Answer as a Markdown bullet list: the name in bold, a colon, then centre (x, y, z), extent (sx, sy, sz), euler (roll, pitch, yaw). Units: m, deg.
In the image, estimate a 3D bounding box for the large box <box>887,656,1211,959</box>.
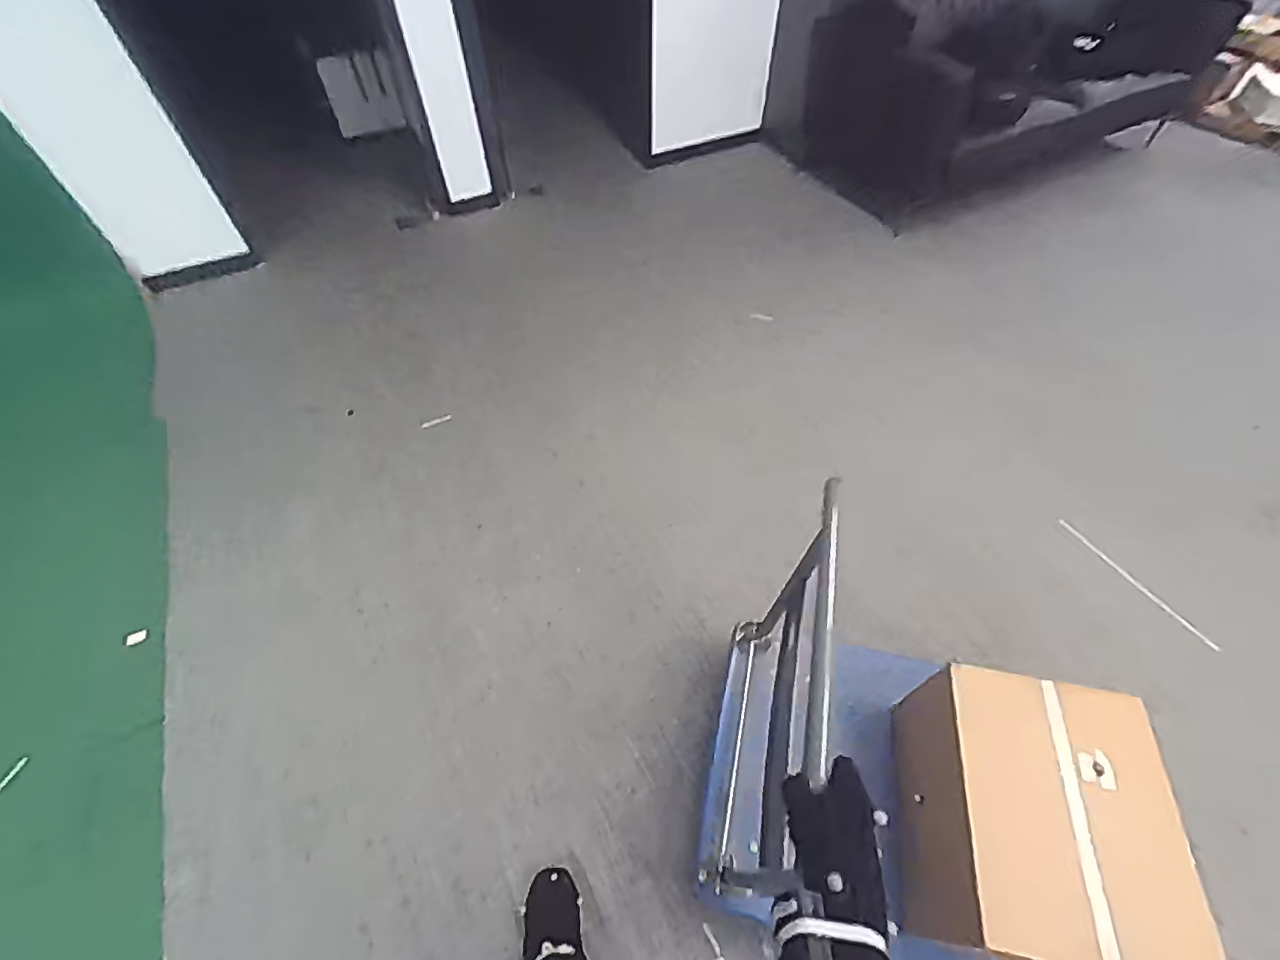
- **large box**: centre (0.657, 0.590, 0.965), extent (0.320, 0.320, 0.408), euler (10, 53, 8)
